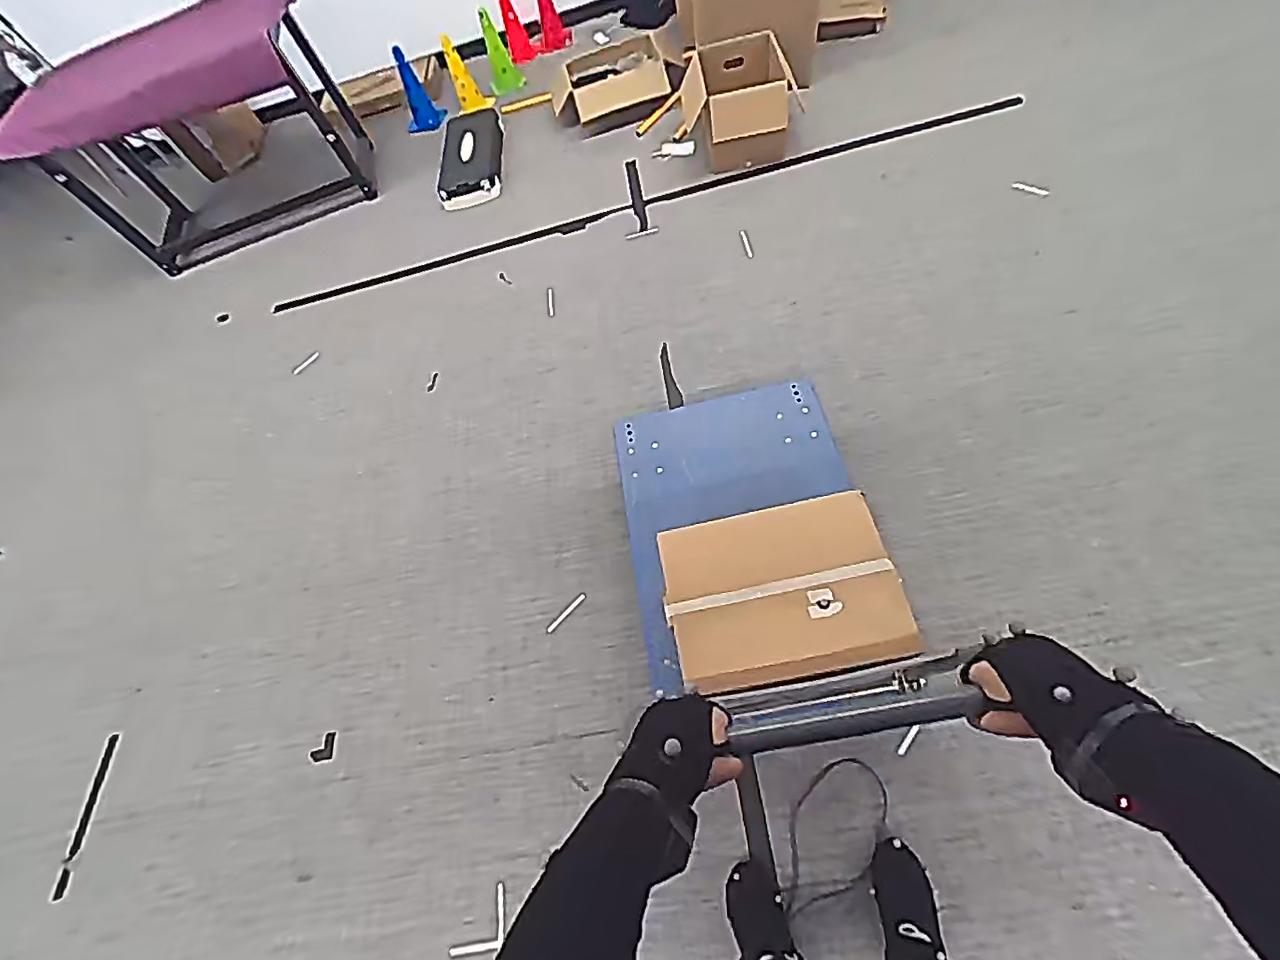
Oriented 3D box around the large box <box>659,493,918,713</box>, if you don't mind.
[{"bbox_3d":[0.279,0.271,1.123,0.408,0.320,0.320,-13,61,4],"label":"large box"}]
